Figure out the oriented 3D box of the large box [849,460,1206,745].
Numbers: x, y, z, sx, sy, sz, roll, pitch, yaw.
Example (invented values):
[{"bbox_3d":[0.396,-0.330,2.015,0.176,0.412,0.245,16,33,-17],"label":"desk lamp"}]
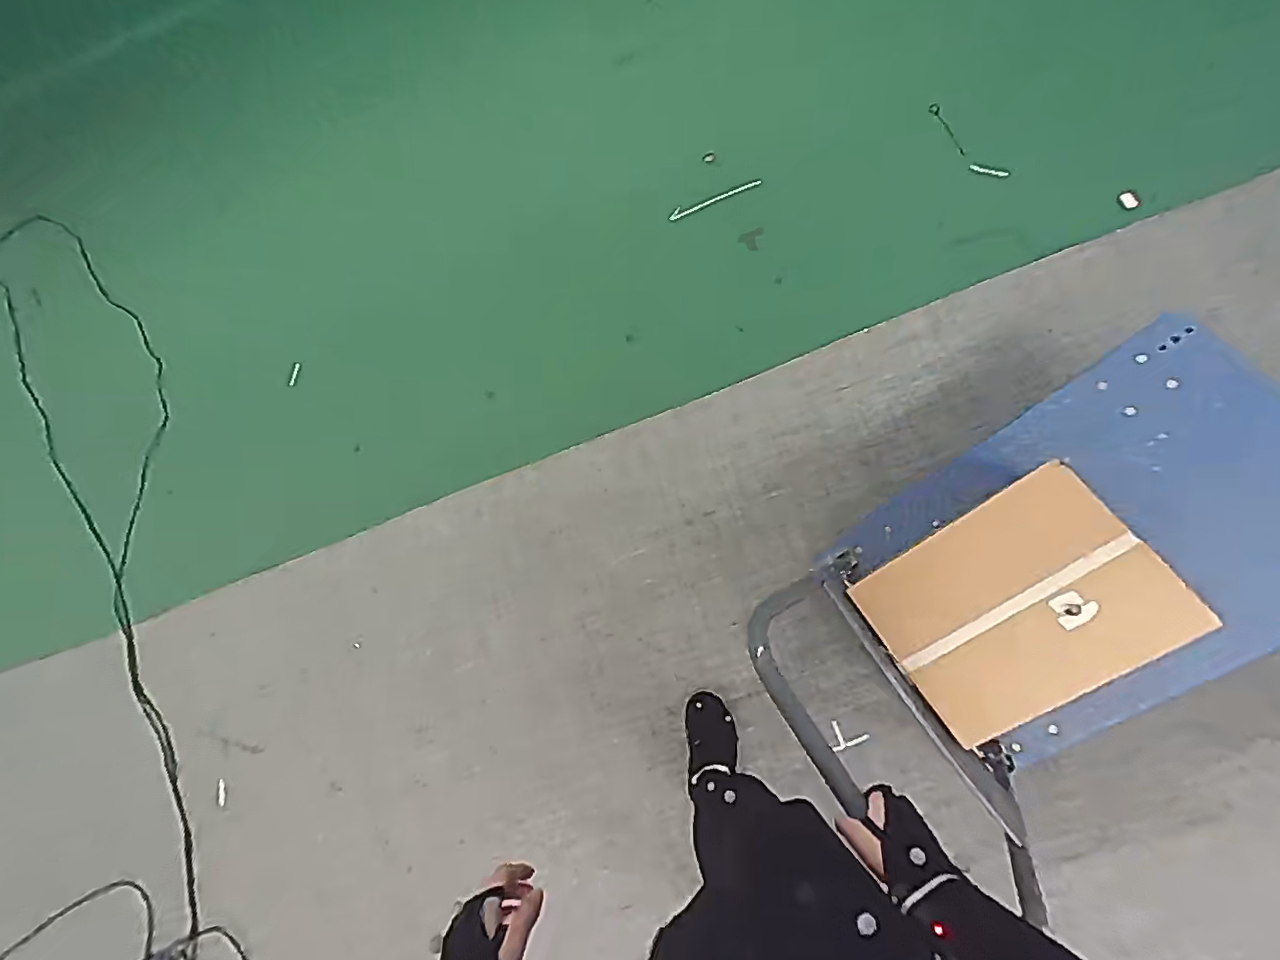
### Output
[{"bbox_3d":[0.673,0.224,1.029,0.408,0.320,0.320,-39,69,17],"label":"large box"}]
